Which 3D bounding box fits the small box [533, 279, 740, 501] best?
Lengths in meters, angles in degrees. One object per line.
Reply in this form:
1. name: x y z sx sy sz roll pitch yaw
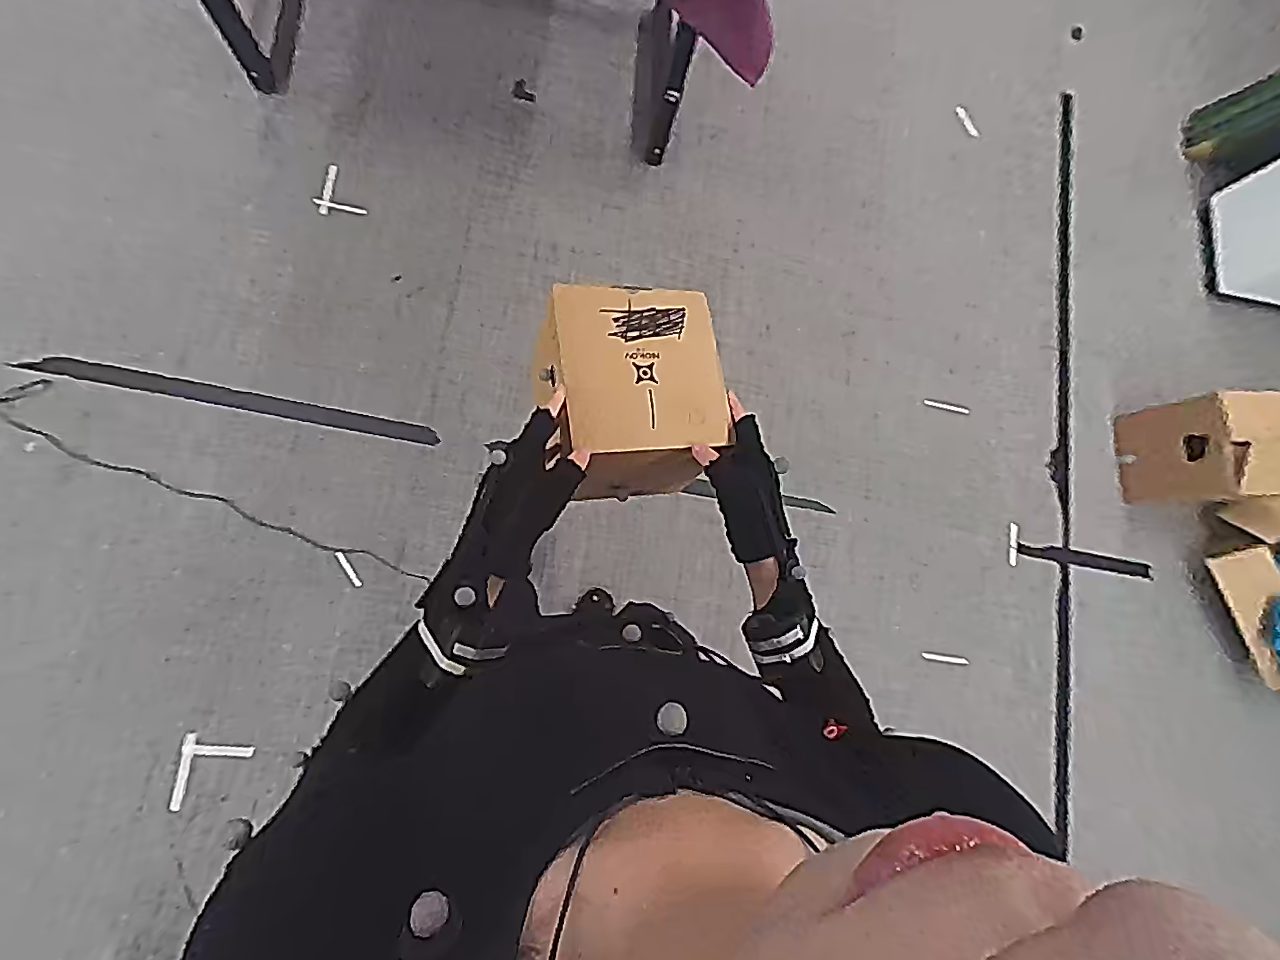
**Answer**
1. small box: -0.018 -0.088 0.584 0.168 0.176 0.179 -4 73 -19
